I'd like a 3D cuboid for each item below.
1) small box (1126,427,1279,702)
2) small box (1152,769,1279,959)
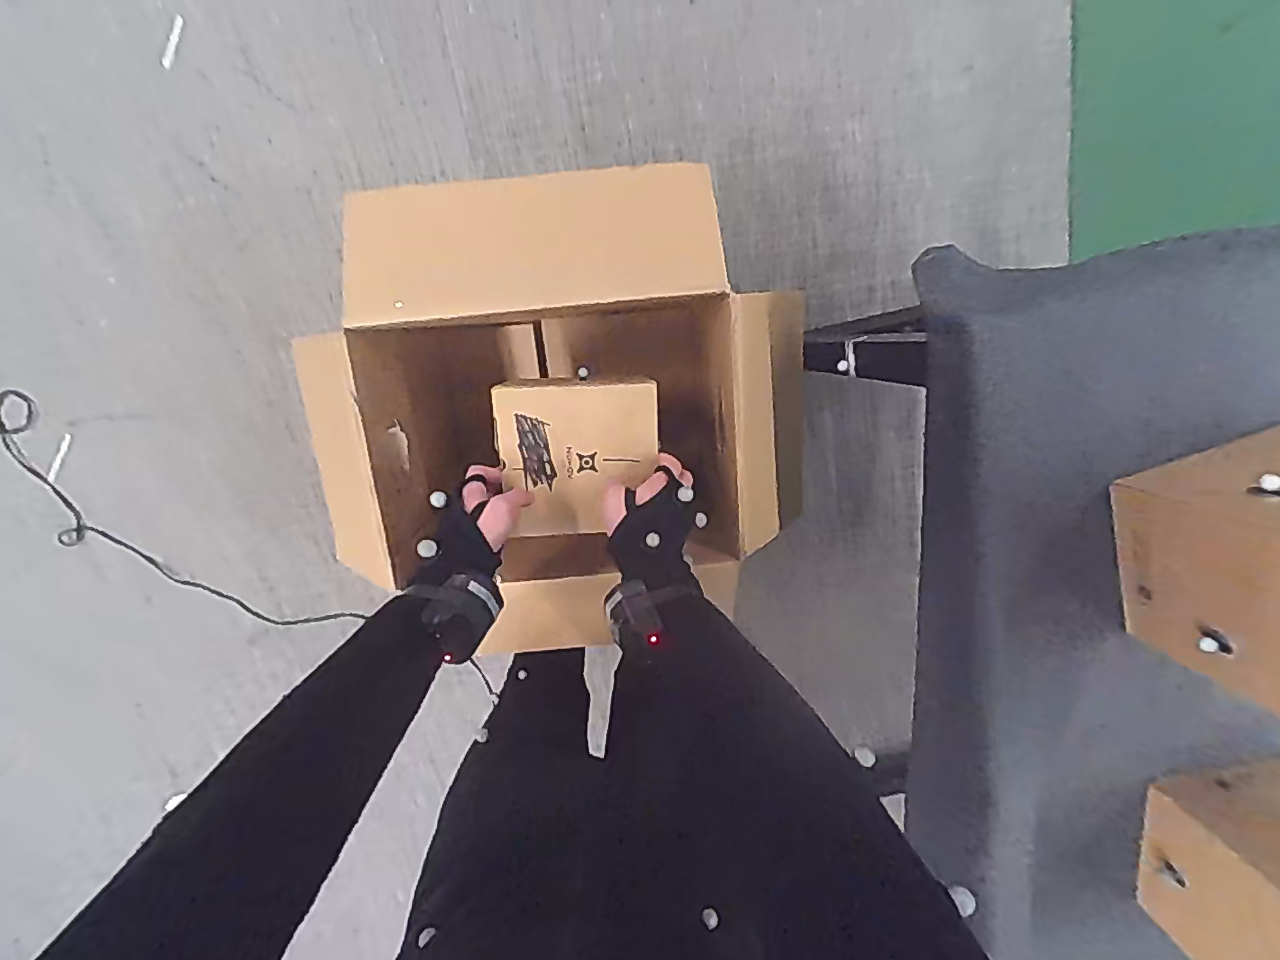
[{"bbox_3d":[0.539,0.069,0.431,0.179,0.176,0.168,-20,105,1],"label":"small box"},{"bbox_3d":[0.646,0.412,0.515,0.168,0.176,0.179,-9,104,1],"label":"small box"}]
